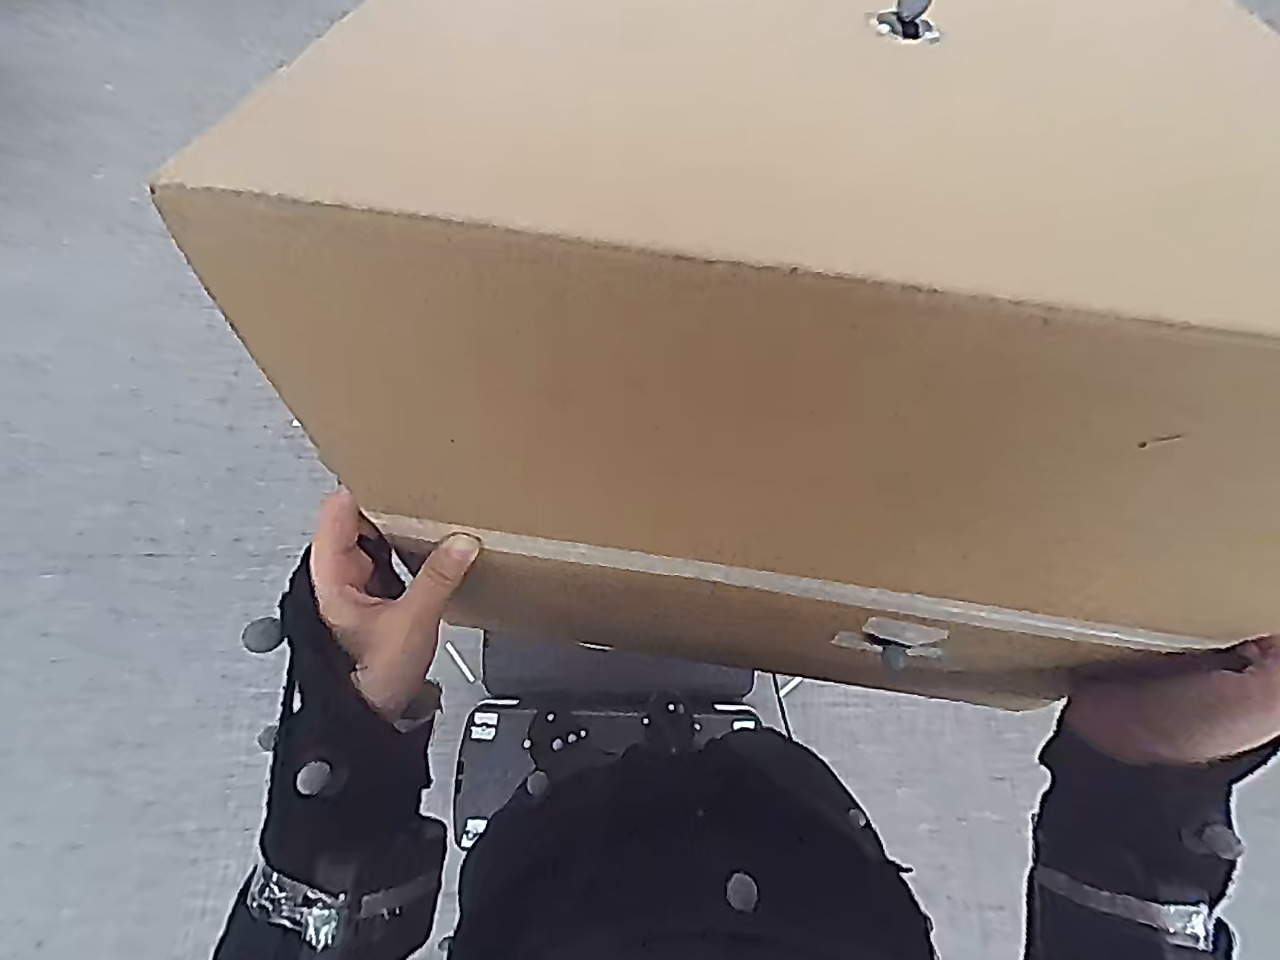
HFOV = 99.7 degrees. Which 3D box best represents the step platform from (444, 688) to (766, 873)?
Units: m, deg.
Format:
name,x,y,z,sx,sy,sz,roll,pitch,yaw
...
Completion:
name,x,y,z,sx,sy,sz,roll,pitch,yaw
step platform,-0.070,0.652,1.204,0.684,0.204,0.286,6,72,2
